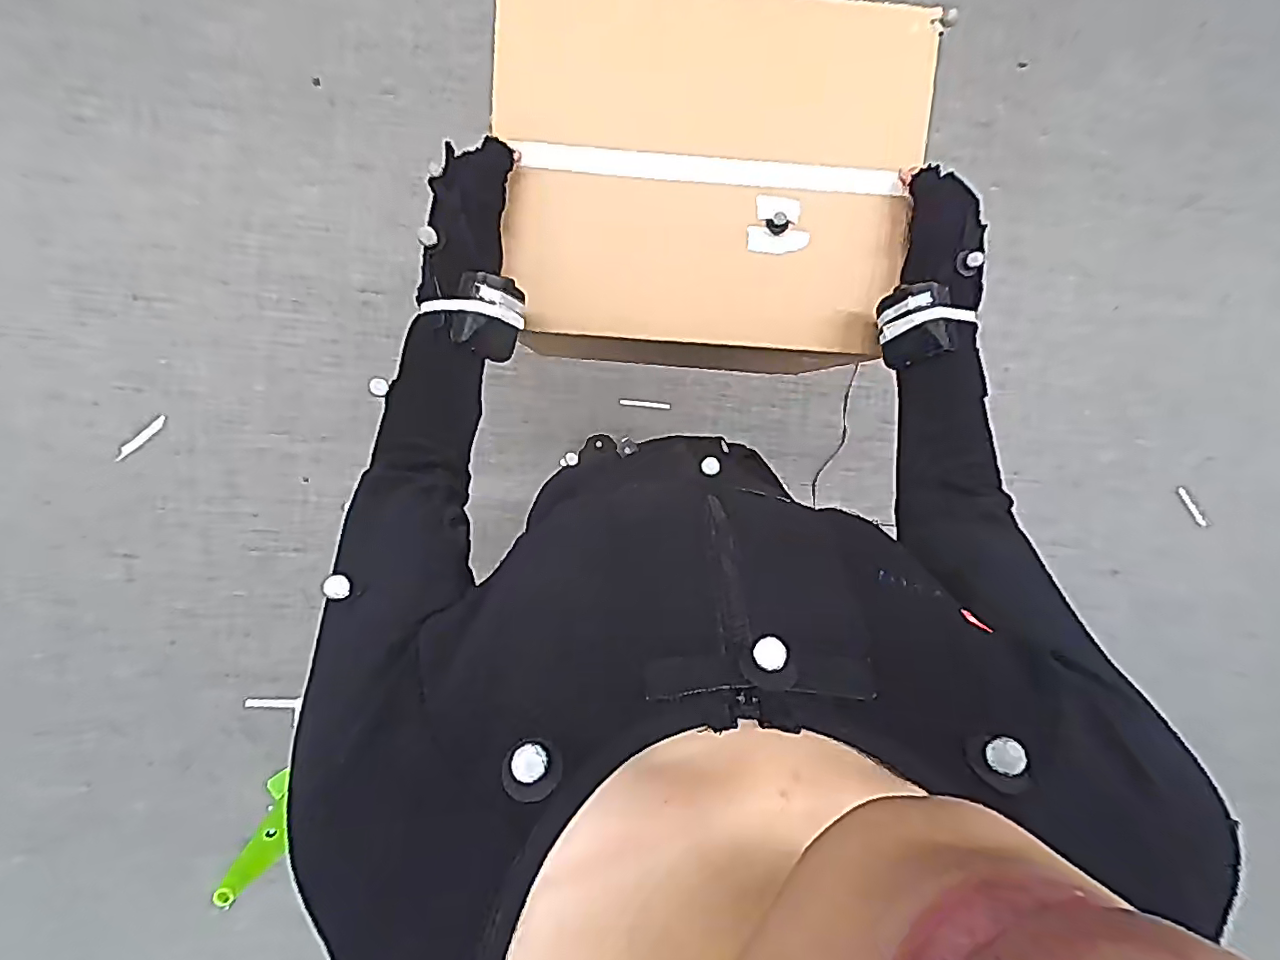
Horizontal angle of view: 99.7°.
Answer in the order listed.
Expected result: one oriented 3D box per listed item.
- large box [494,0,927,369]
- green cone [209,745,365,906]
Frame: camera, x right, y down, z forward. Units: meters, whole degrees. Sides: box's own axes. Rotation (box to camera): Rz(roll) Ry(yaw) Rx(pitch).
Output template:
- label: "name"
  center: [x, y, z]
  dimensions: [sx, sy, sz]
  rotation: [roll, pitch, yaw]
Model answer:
- label: "large box"
  center: [0.055, -0.312, 0.658]
  dimensions: [0.408, 0.320, 0.320]
  rotation: [3, 98, -3]
- label: "green cone"
  center: [-0.871, 0.849, 1.295]
  dimensions: [0.202, 0.368, 0.200]
  rotation: [-33, 92, 1]
